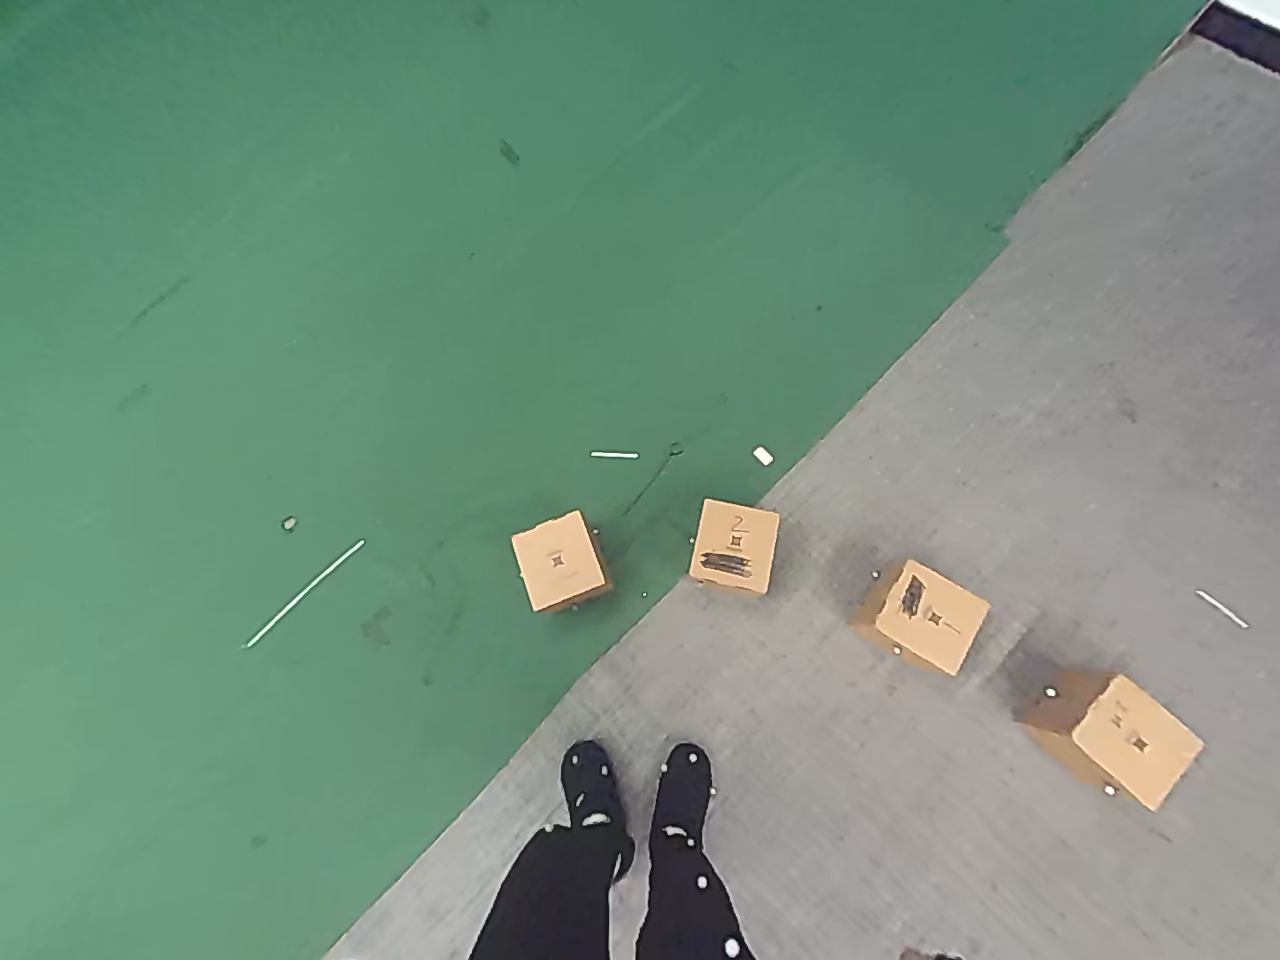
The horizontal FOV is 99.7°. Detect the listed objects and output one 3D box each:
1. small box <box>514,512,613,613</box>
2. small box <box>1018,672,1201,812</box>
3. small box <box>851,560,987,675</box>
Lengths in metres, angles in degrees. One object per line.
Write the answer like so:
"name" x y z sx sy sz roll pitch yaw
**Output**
"small box" -0.171 0.196 1.249 0.168 0.176 0.179 -21 74 -1
"small box" 0.914 0.502 1.071 0.168 0.176 0.179 -44 75 -8
"small box" 0.584 0.294 1.156 0.179 0.176 0.168 32 79 11
